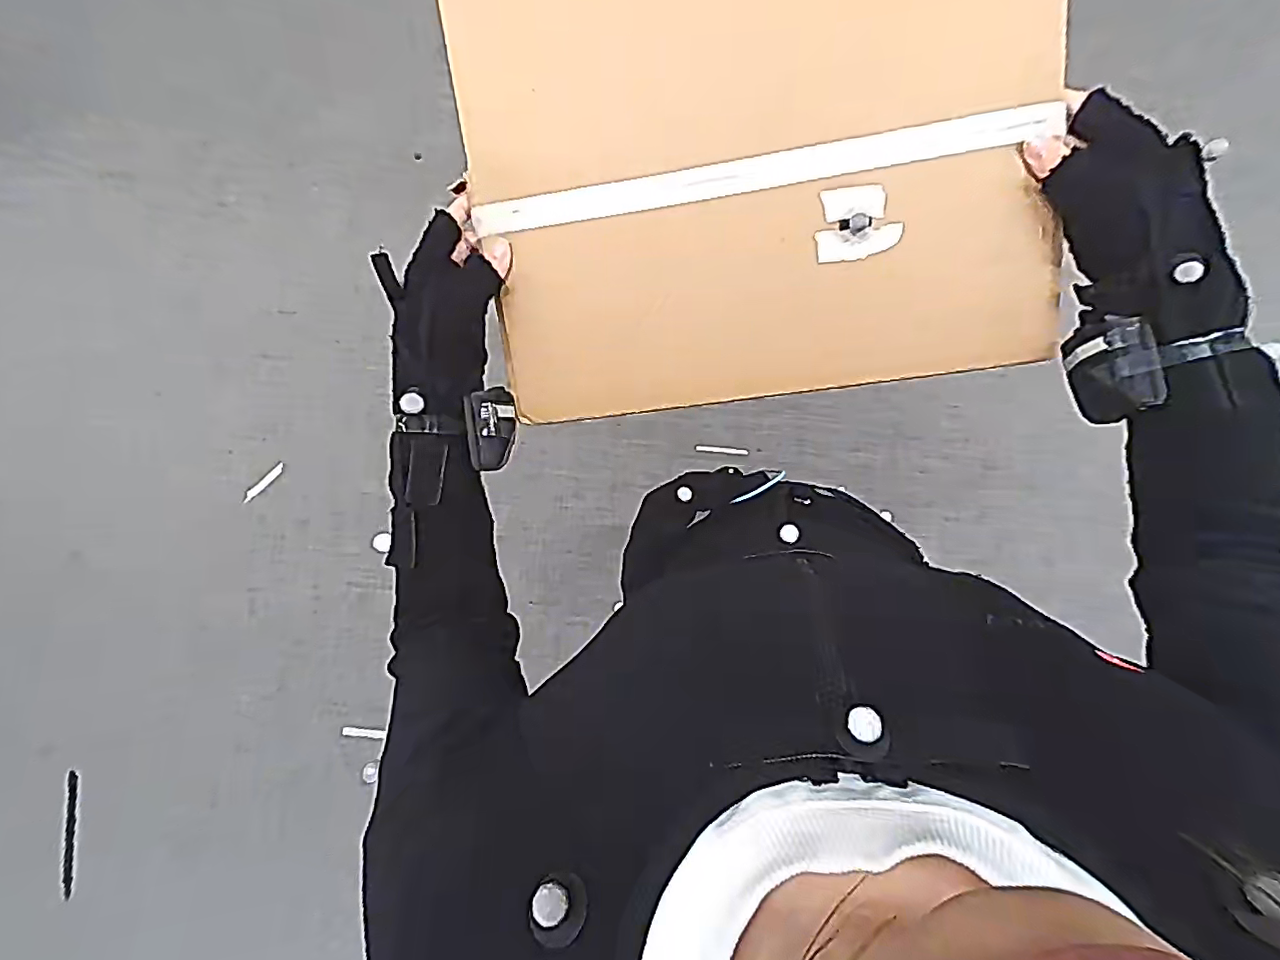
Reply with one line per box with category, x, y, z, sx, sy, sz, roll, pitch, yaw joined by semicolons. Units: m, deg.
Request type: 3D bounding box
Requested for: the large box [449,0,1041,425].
large box;0.090;-0.253;0.540;0.408;0.320;0.320;-8;103;6
